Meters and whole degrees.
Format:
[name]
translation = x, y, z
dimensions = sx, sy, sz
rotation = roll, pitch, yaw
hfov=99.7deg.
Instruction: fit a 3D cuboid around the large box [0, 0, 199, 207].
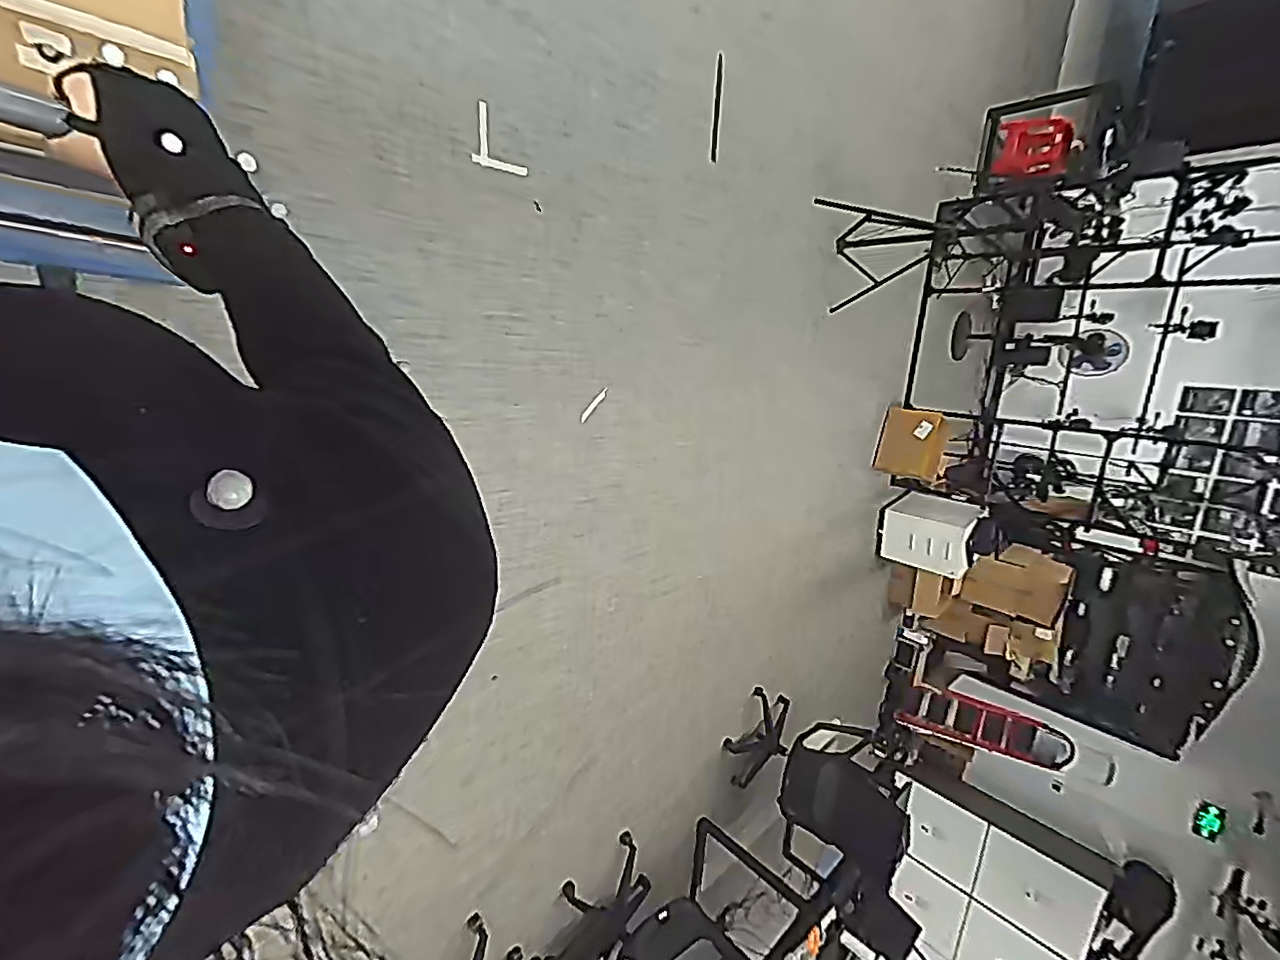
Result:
[large box]
translation = -0.868, -0.583, 0.701
dimensions = 0.408, 0.320, 0.320
rotation = -9, 108, -45
